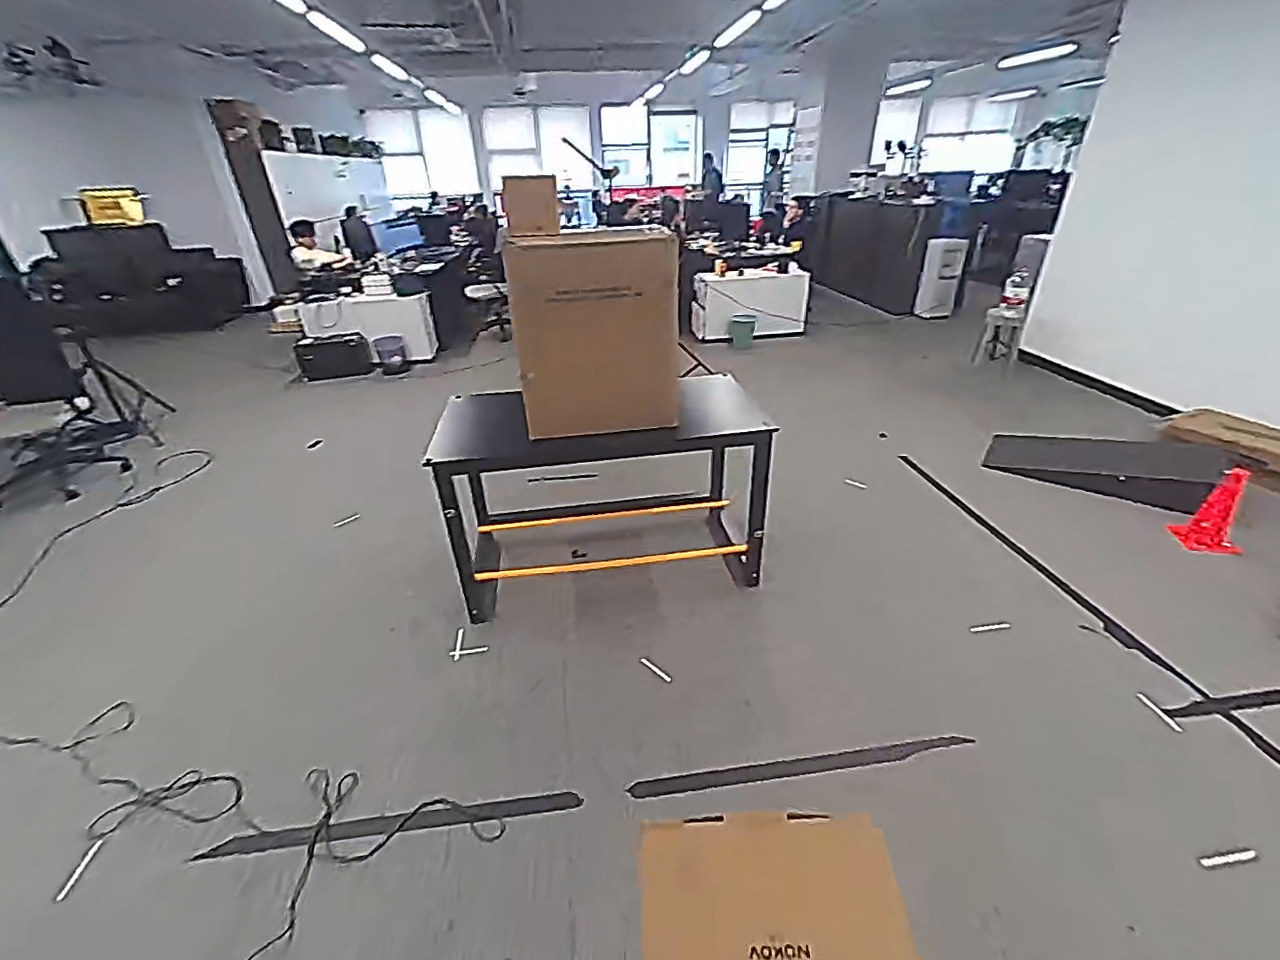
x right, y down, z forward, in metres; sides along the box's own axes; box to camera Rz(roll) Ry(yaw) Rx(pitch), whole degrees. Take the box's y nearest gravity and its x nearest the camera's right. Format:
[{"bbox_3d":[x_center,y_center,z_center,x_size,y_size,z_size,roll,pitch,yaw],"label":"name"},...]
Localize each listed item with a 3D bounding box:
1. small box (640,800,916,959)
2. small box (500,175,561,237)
[{"bbox_3d":[0.084,0.347,0.372,0.168,0.176,0.179,-3,42,0],"label":"small box"},{"bbox_3d":[-0.344,-0.880,1.732,0.168,0.176,0.179,-4,30,-4],"label":"small box"}]
